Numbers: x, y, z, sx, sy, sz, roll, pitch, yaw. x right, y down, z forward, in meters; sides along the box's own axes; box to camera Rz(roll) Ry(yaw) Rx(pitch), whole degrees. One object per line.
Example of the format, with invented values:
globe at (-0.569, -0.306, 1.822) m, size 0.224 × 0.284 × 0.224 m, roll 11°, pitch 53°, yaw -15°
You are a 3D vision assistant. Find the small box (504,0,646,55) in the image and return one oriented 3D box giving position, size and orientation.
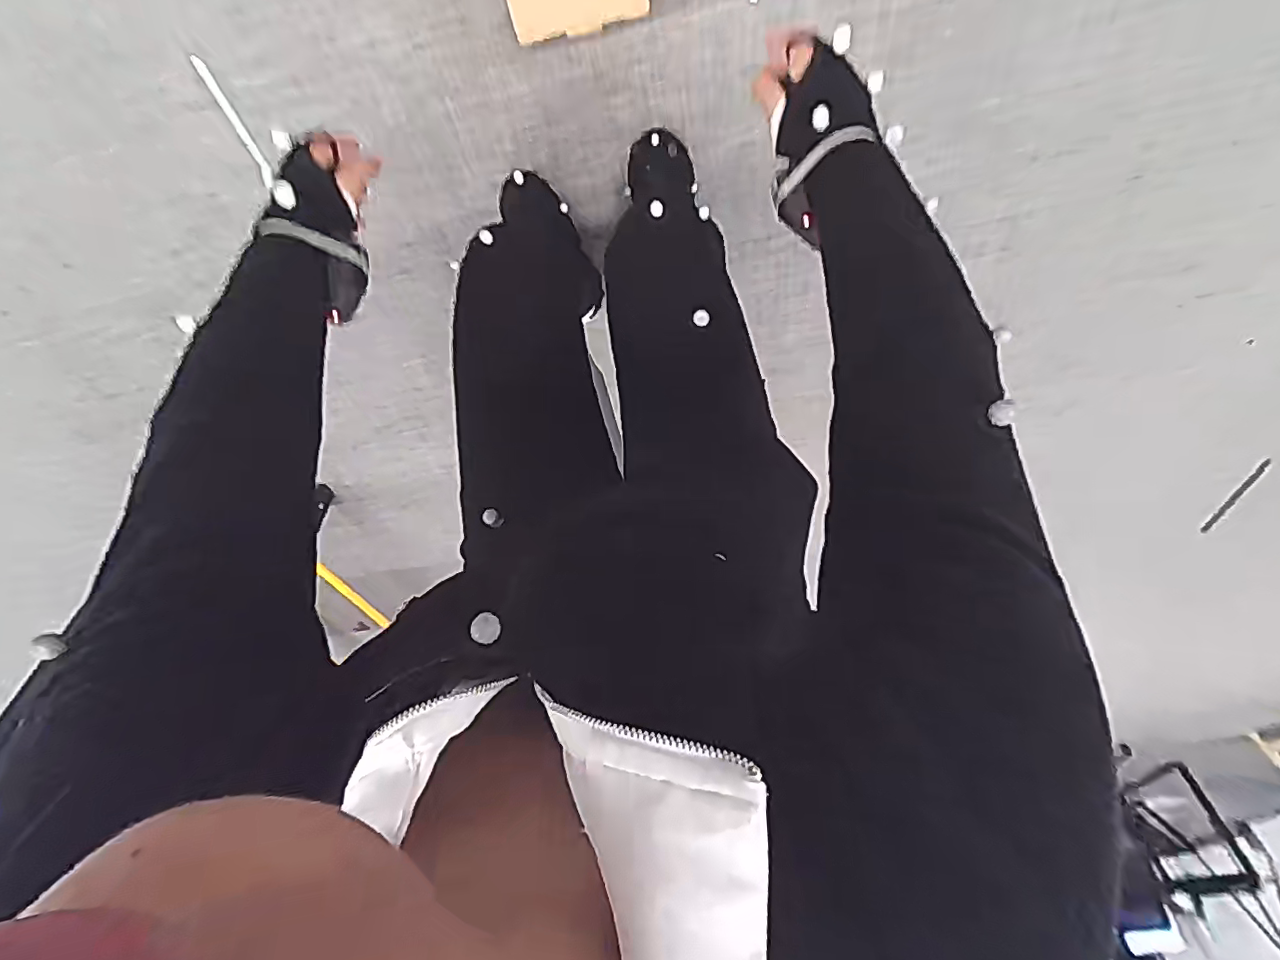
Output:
small box at (-0.087, -0.654, 0.651) m, size 0.168 × 0.176 × 0.179 m, roll -9°, pitch 138°, yaw 5°
